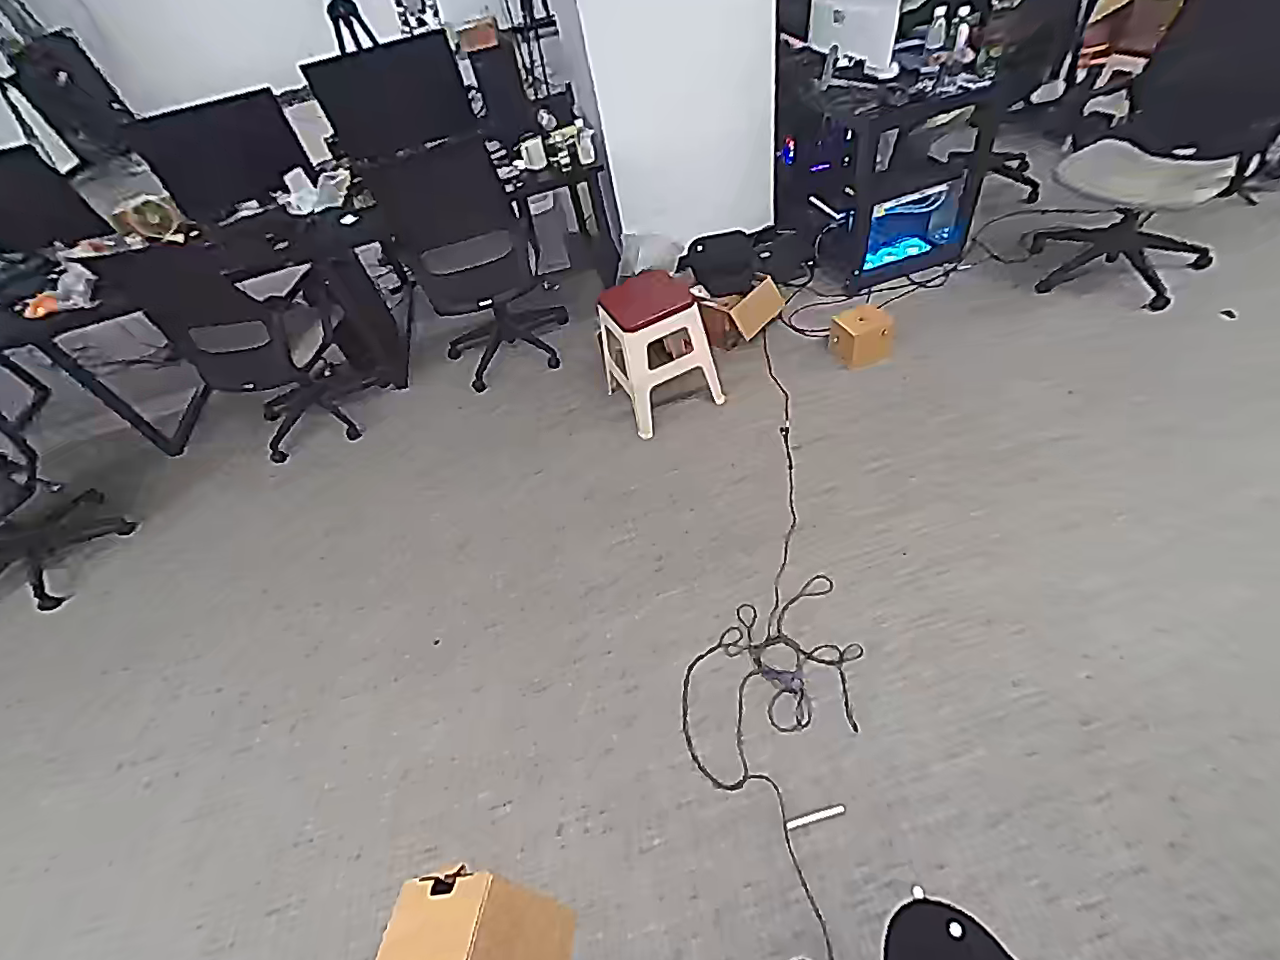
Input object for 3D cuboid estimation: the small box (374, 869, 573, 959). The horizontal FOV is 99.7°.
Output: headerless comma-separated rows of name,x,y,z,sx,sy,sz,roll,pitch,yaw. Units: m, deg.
small box,-0.201,0.592,0.637,0.168,0.176,0.179,-26,31,26
